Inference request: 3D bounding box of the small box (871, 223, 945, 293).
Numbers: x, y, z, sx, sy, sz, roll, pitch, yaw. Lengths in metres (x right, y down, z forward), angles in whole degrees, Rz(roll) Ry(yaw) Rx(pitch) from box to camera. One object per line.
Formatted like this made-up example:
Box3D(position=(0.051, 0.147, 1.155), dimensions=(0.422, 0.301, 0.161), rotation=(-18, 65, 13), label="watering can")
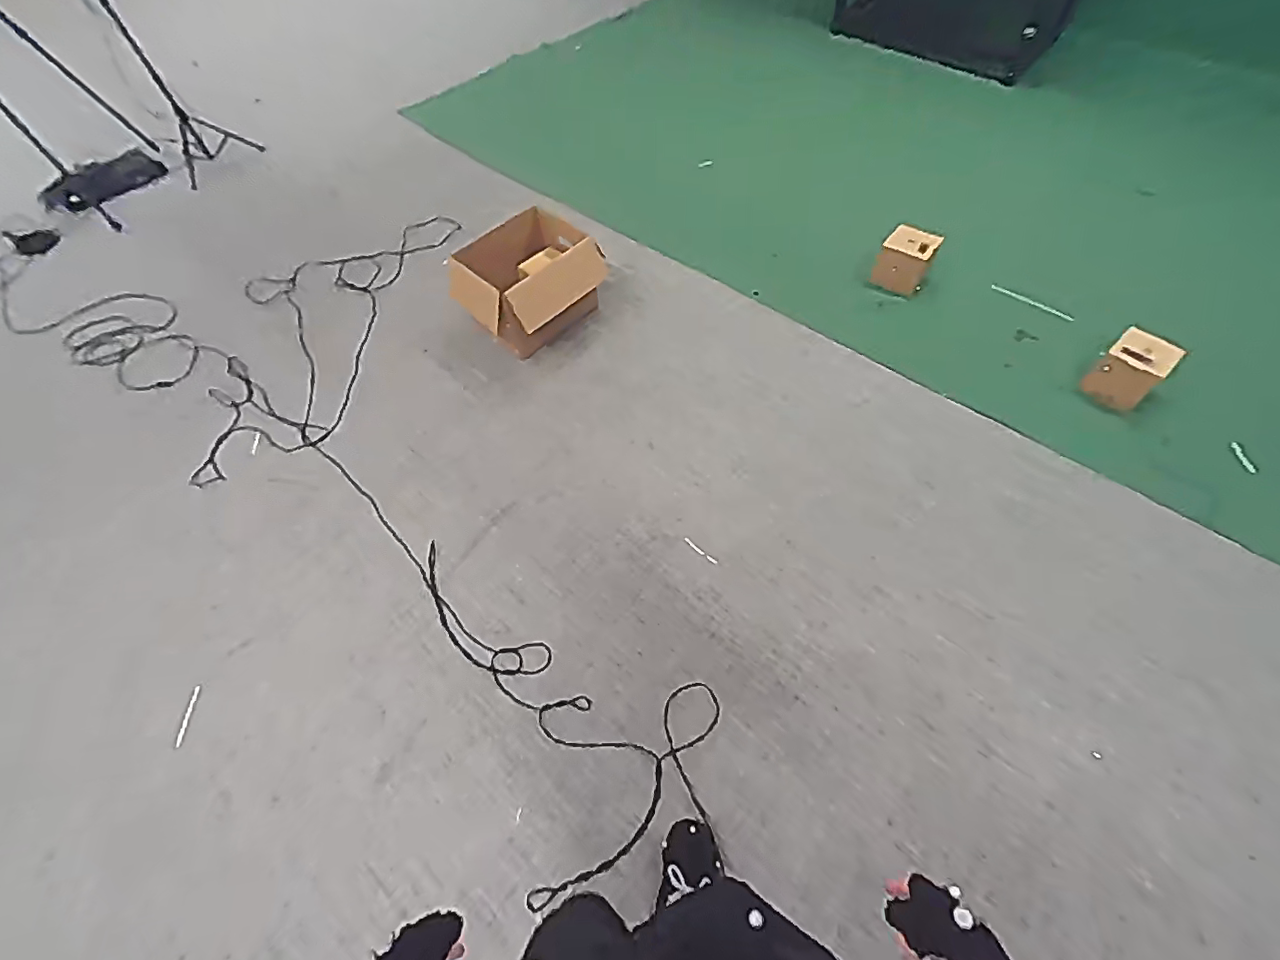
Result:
Box3D(position=(1.037, -0.858, 2.103), dimensions=(0.179, 0.176, 0.168), rotation=(33, 65, 23), label="small box")
